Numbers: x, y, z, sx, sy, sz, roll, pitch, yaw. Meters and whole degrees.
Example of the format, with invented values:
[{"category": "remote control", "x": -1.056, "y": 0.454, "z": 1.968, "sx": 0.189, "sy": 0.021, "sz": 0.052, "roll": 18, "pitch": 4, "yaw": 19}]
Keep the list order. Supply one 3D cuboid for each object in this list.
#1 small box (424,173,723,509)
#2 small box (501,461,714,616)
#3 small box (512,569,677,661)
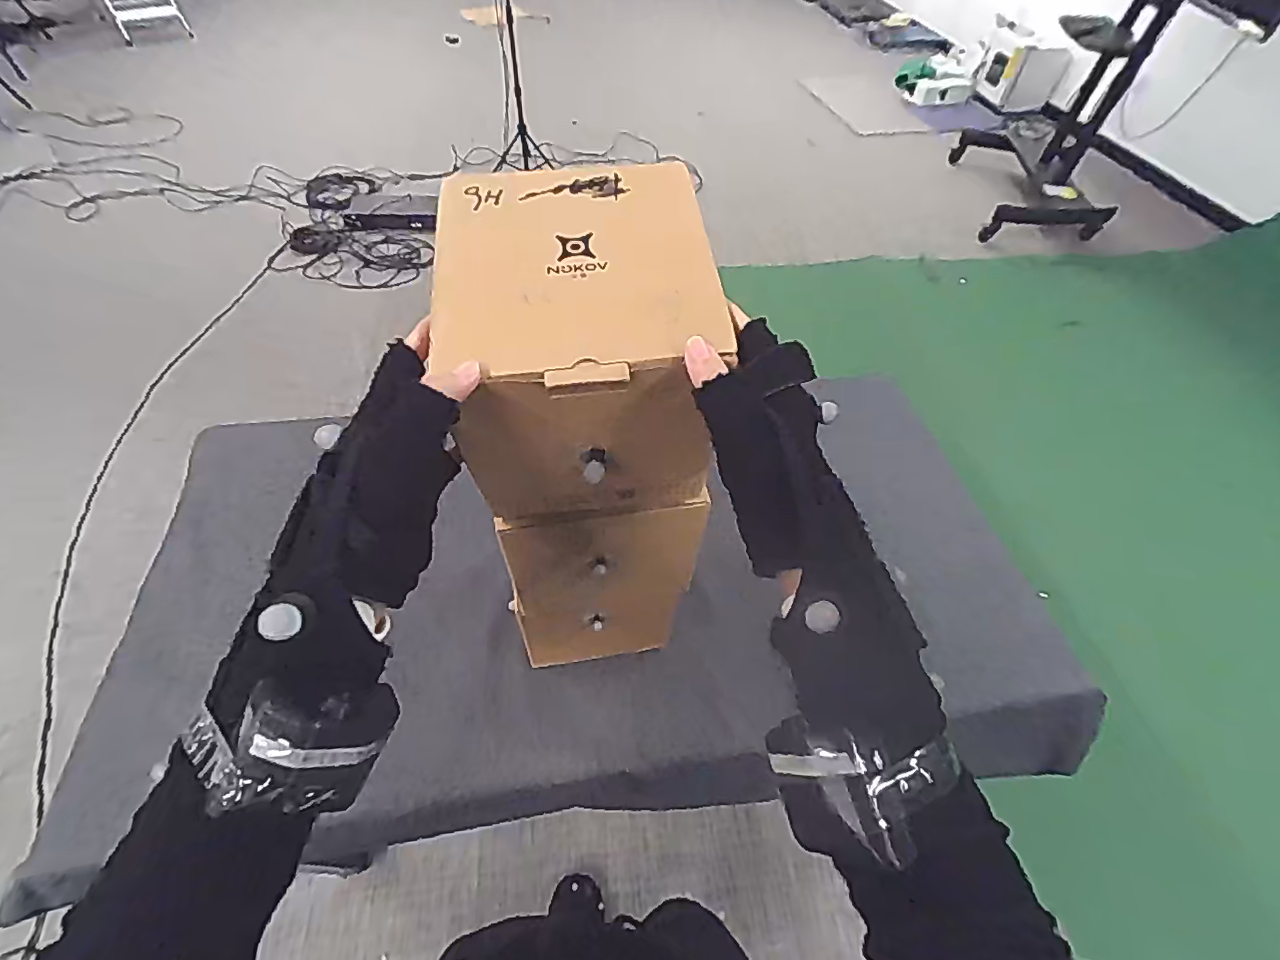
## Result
[{"category": "small box", "x": -0.044, "y": -0.088, "z": 0.397, "sx": 0.168, "sy": 0.176, "sz": 0.179, "roll": -6, "pitch": 63, "yaw": -4}, {"category": "small box", "x": -0.044, "y": 0.017, "z": 0.543, "sx": 0.179, "sy": 0.176, "sz": 0.168, "roll": -9, "pitch": 55, "yaw": -11}, {"category": "small box", "x": -0.061, "y": 0.113, "z": 0.676, "sx": 0.179, "sy": 0.176, "sz": 0.168, "roll": -6, "pitch": 54, "yaw": -9}]
